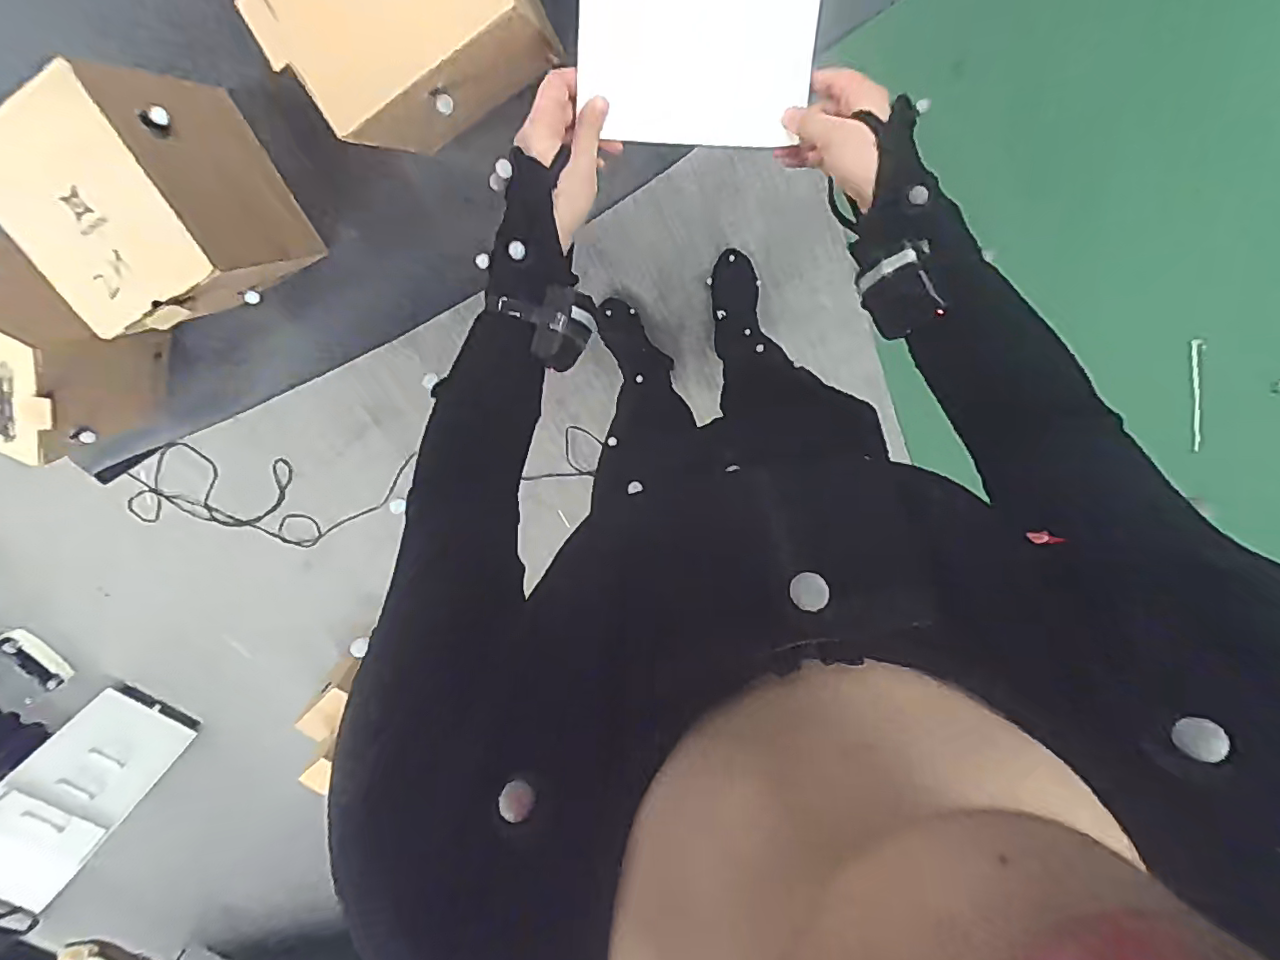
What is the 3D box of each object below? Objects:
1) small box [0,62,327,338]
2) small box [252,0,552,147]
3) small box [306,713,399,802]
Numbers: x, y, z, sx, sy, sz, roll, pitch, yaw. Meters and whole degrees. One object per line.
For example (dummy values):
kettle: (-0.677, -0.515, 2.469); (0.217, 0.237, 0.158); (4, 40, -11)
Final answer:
small box: (-0.475, -0.273, 0.552); (0.168, 0.176, 0.179); (-19, 115, 17)
small box: (-0.190, -0.406, 0.445); (0.179, 0.176, 0.168); (-23, 114, 20)
small box: (-0.922, 0.895, 1.750); (0.179, 0.176, 0.168); (42, 114, -17)
